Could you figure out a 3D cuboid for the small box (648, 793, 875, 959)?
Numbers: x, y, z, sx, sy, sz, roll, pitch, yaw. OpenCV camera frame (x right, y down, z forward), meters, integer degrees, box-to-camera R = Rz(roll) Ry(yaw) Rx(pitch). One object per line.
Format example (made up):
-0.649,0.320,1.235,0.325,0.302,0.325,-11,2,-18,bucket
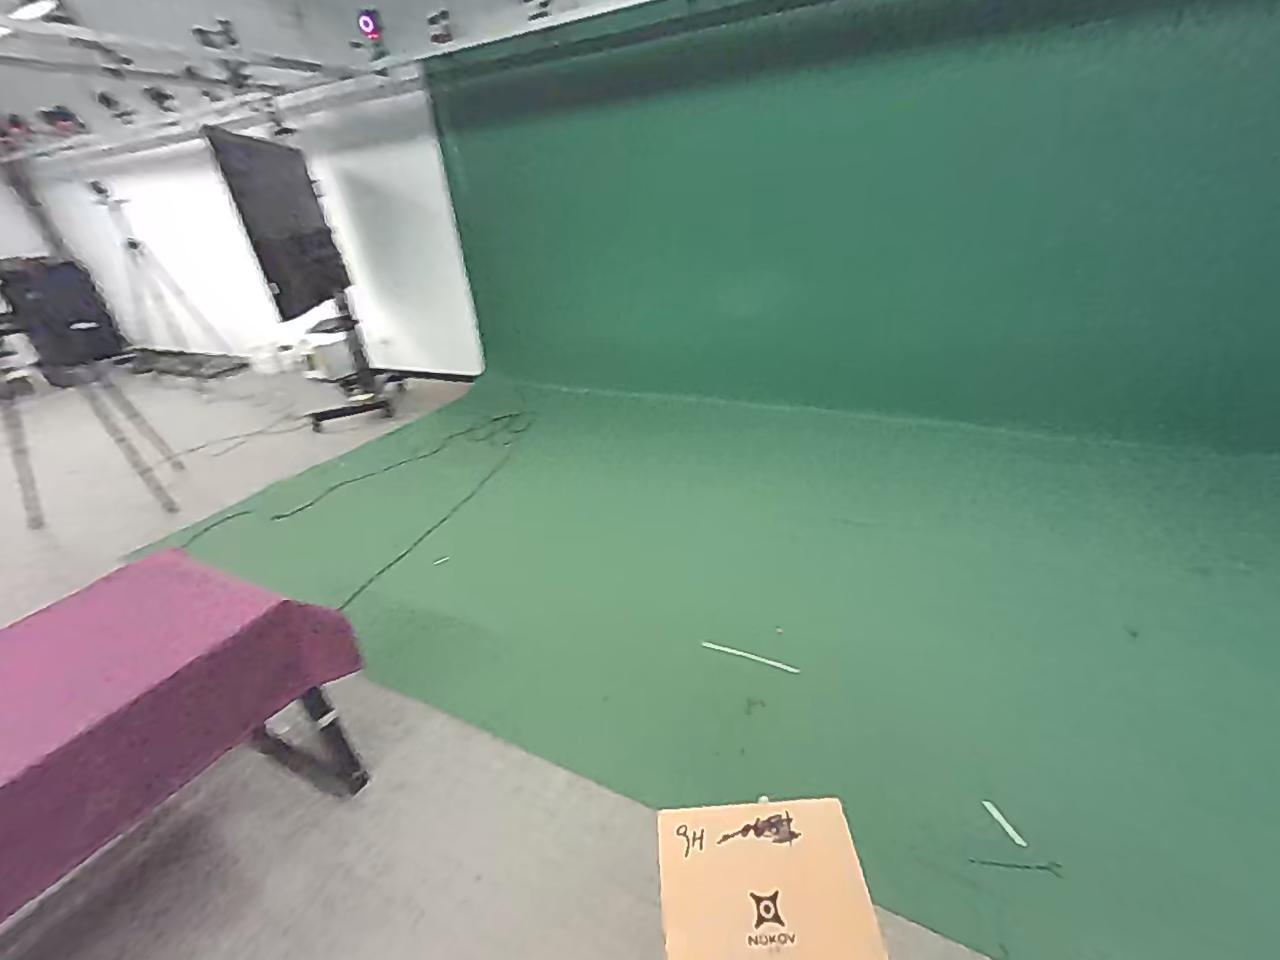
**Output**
0.100,0.404,0.466,0.168,0.176,0.179,-7,36,2,small box
